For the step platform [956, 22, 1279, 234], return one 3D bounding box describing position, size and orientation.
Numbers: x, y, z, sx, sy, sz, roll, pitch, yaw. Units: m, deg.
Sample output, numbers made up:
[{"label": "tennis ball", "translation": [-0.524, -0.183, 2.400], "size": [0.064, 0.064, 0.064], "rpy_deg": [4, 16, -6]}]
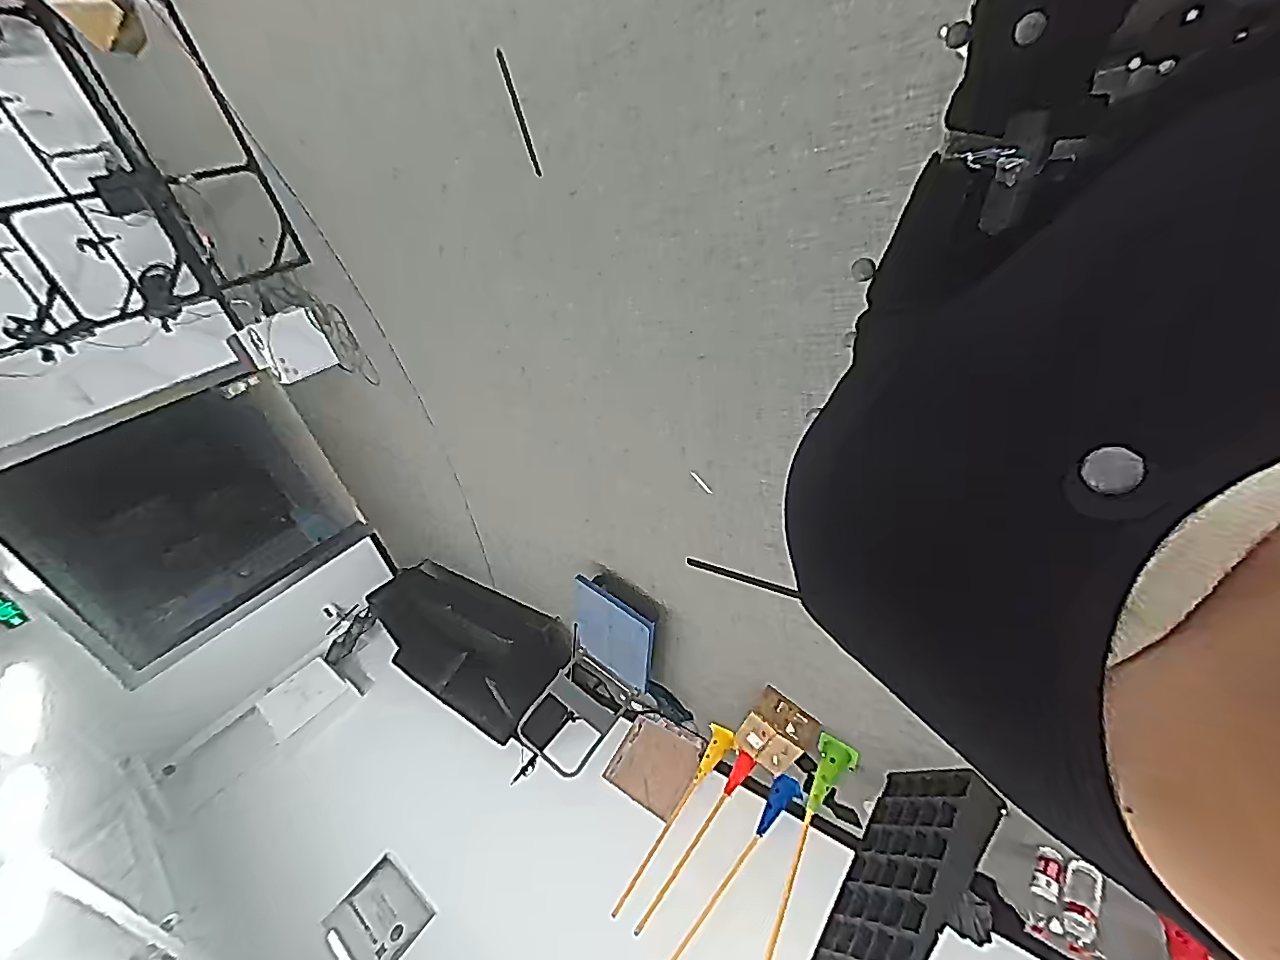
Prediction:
[{"label": "step platform", "translation": [0.947, -0.602, 0.939], "size": [0.684, 0.204, 0.286], "rpy_deg": [18, 134, 38]}]
